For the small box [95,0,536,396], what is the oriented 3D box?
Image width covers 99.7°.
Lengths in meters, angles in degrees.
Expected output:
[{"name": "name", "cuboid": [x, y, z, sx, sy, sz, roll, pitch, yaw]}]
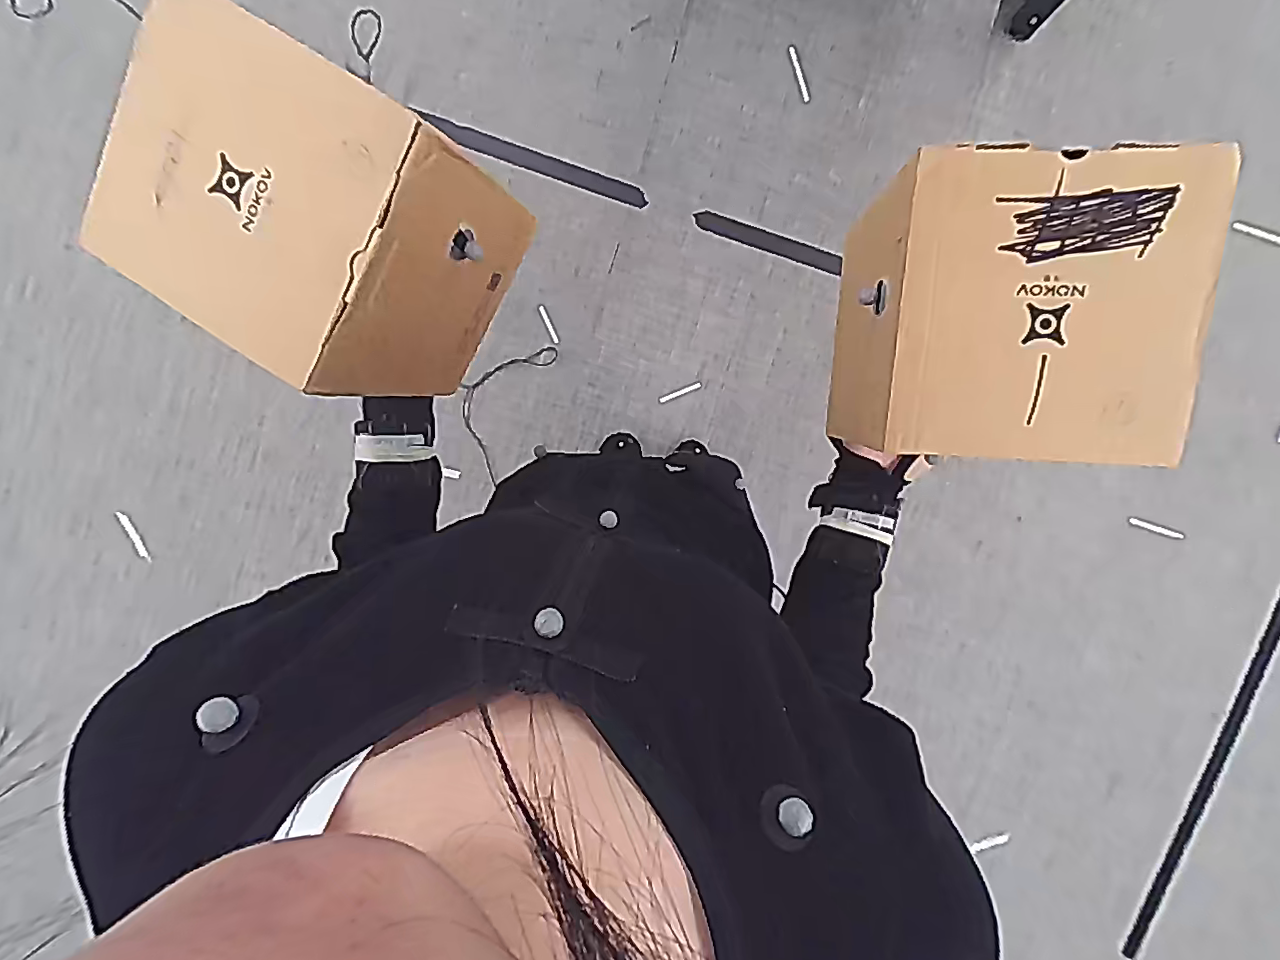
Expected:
[{"name": "small box", "cuboid": [-0.202, -0.174, 0.381, 0.179, 0.176, 0.168, 33, 102, 5]}]

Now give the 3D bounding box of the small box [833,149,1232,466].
[{"name": "small box", "cuboid": [0.247, -0.109, 0.392, 0.168, 0.176, 0.179, 3, 99, 7]}]
